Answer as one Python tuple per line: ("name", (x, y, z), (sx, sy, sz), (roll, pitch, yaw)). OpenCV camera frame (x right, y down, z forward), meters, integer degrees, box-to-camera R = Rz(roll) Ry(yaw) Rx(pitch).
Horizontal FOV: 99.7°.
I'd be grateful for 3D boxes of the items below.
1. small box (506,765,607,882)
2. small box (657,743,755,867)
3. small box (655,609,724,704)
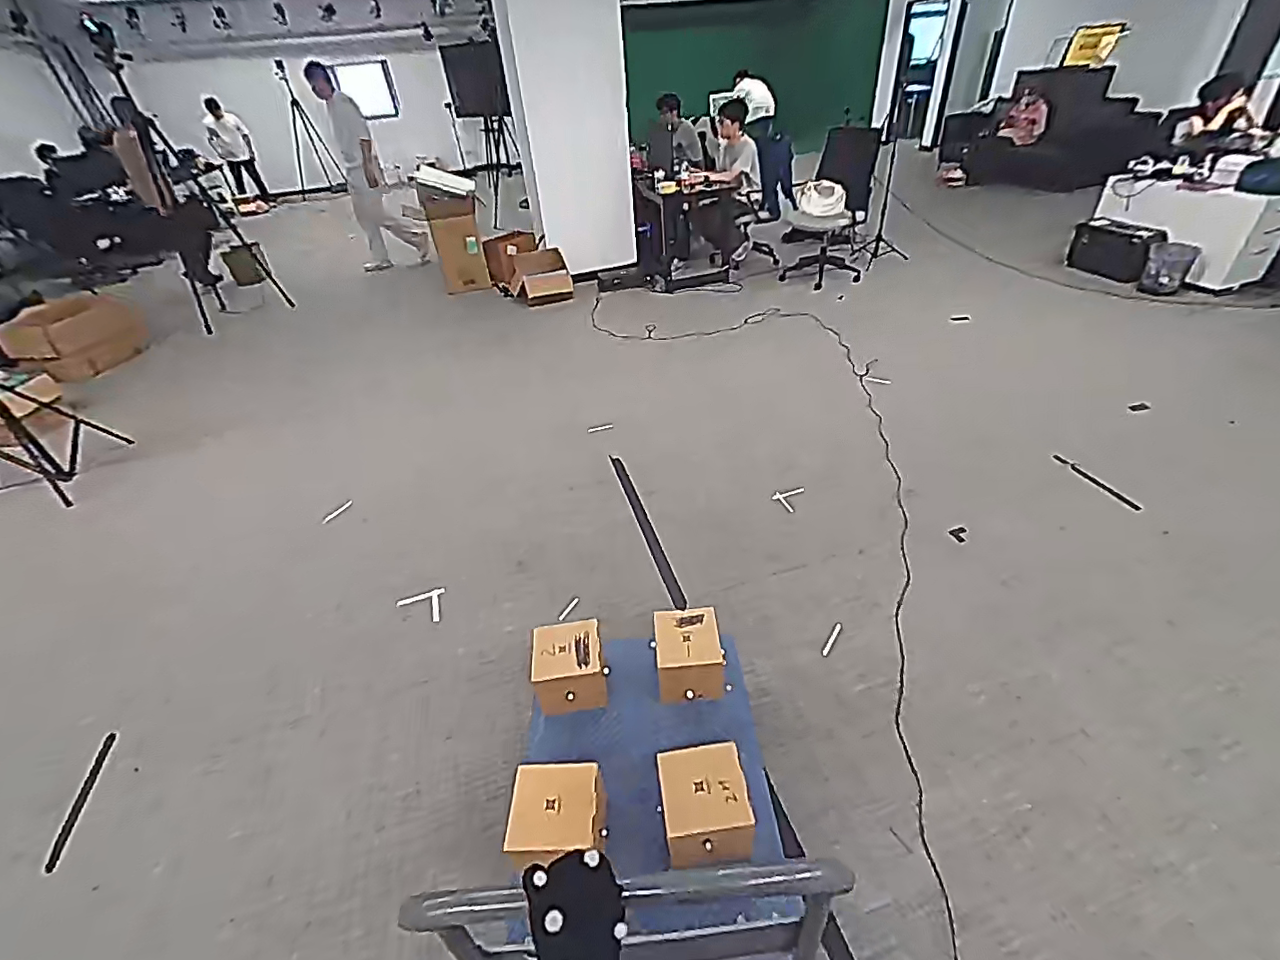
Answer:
("small box", (-0.169, 0.732, 1.151), (0.179, 0.176, 0.168), (-3, 36, 2))
("small box", (0.139, 0.696, 1.154), (0.179, 0.176, 0.168), (-8, 37, -2))
("small box", (0.130, 0.472, 1.451), (0.168, 0.176, 0.179), (-5, 38, 1))
